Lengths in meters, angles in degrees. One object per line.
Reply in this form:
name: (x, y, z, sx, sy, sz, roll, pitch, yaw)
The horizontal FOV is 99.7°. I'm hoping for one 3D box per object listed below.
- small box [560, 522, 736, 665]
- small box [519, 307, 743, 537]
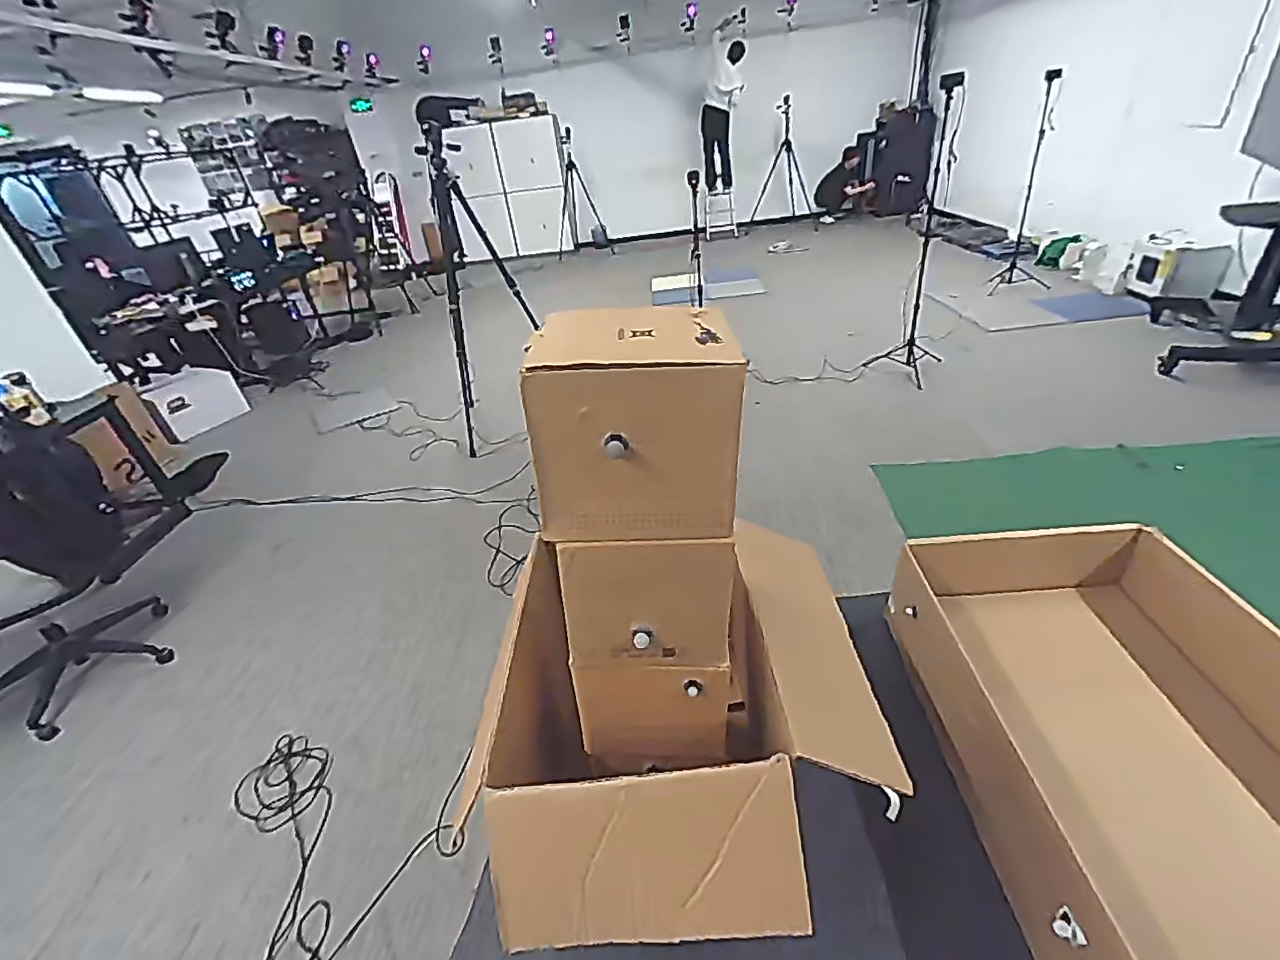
small box: (0.009, 0.082, 0.605, 0.168, 0.176, 0.179, -2, 32, 1)
small box: (-0.002, -0.057, 0.518, 0.179, 0.176, 0.168, -2, 32, 1)
